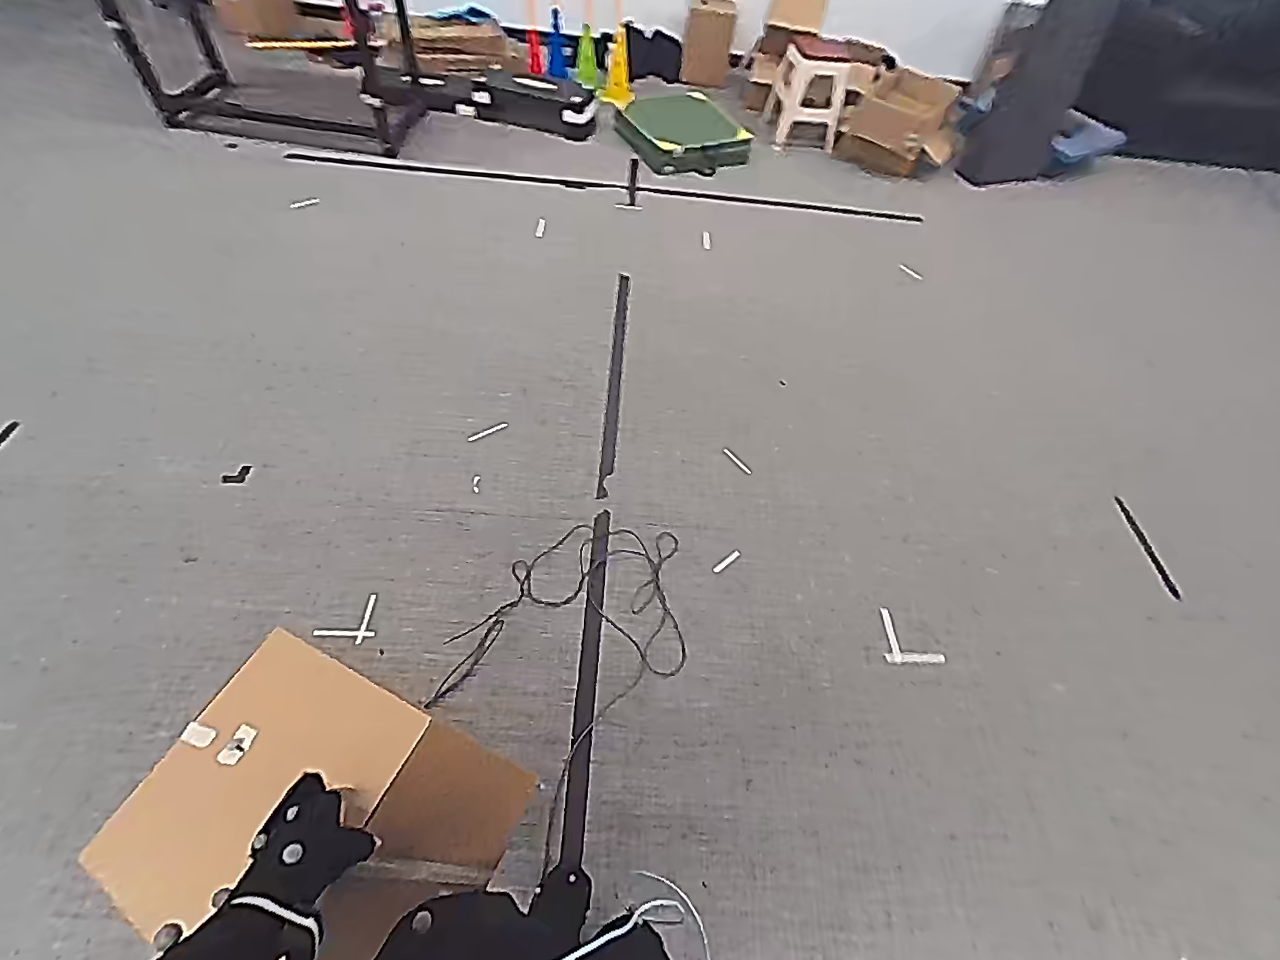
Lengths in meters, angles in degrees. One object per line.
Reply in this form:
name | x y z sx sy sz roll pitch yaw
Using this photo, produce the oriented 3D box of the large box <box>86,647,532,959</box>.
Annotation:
large box | -0.426 0.499 0.799 0.320 0.408 0.320 16 58 24
